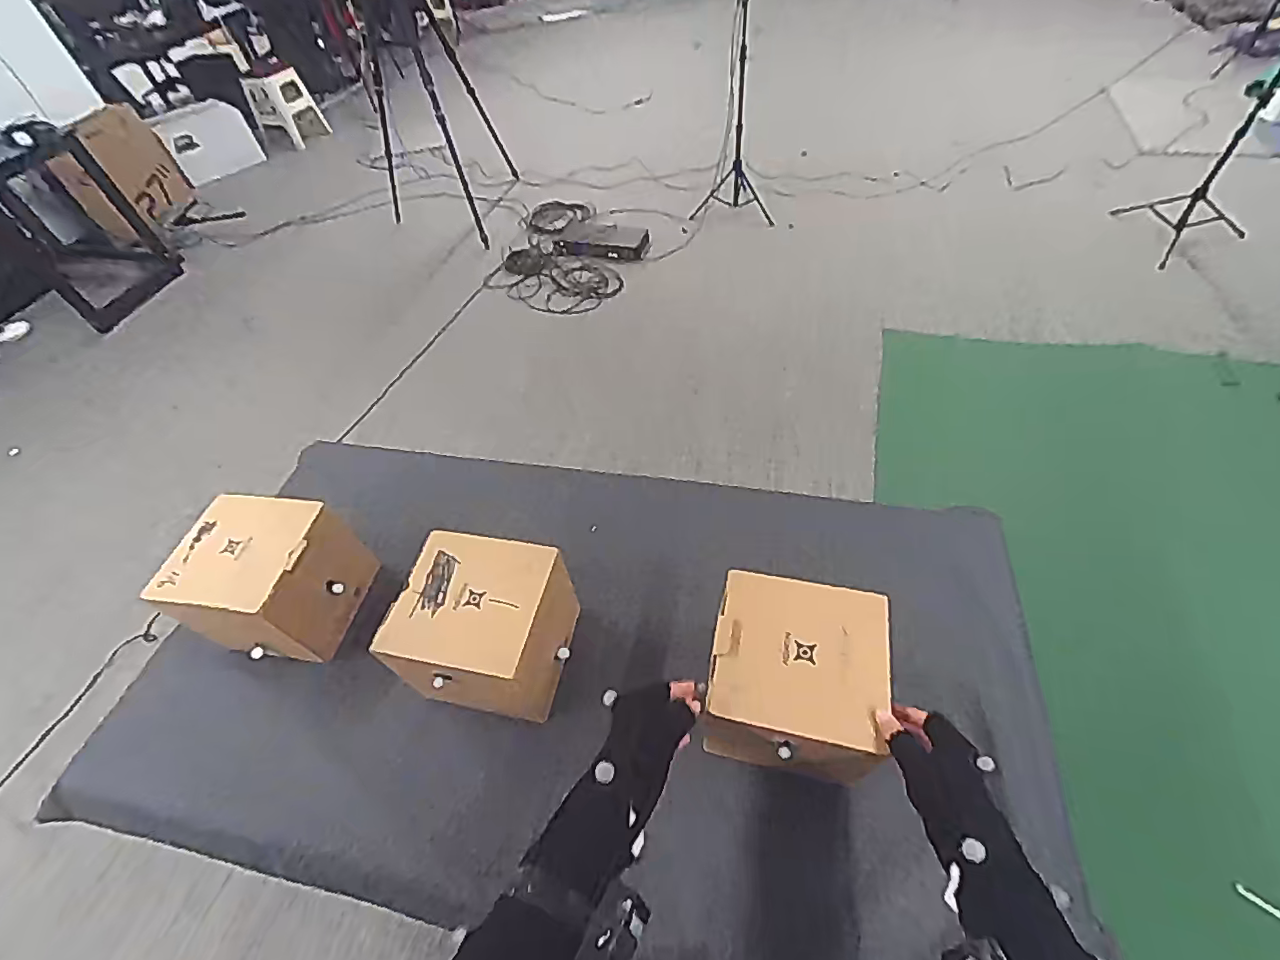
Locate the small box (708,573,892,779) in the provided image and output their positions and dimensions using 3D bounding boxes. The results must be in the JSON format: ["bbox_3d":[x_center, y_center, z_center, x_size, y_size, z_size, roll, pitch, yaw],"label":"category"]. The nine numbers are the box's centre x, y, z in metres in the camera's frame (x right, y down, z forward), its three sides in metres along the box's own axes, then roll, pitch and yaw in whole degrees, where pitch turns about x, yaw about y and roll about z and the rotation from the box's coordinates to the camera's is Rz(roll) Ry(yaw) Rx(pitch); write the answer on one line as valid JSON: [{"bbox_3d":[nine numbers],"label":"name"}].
[{"bbox_3d":[0.176,0.231,0.630,0.179,0.176,0.168,8,54,11],"label":"small box"}]

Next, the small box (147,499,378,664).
[{"bbox_3d":[-0.514,0.148,0.772,0.179,0.176,0.168,5,52,9],"label":"small box"}]

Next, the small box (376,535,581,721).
[{"bbox_3d":[-0.191,0.194,0.699,0.179,0.176,0.168,7,52,11],"label":"small box"}]
